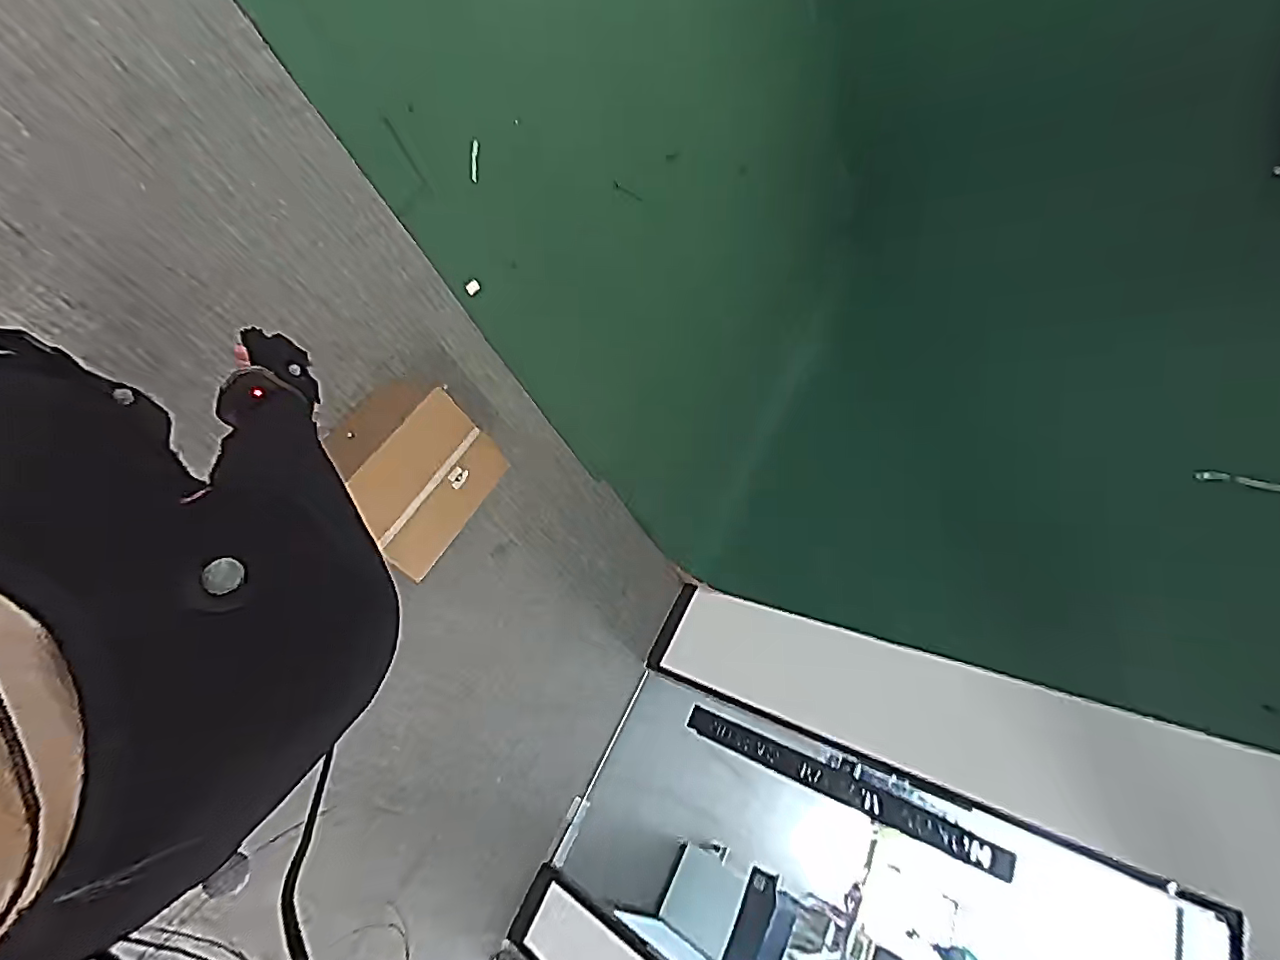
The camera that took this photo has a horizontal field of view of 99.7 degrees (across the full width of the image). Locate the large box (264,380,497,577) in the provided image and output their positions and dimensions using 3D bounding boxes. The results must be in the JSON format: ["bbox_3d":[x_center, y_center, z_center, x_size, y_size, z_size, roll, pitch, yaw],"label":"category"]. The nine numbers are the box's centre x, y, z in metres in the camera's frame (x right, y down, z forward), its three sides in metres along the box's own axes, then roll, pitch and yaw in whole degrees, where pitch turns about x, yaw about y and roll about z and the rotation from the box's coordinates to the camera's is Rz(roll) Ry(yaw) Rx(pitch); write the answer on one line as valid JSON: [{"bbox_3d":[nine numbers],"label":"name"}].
[{"bbox_3d":[-0.671,-0.014,1.432,0.408,0.320,0.320,-59,138,-28],"label":"large box"}]
